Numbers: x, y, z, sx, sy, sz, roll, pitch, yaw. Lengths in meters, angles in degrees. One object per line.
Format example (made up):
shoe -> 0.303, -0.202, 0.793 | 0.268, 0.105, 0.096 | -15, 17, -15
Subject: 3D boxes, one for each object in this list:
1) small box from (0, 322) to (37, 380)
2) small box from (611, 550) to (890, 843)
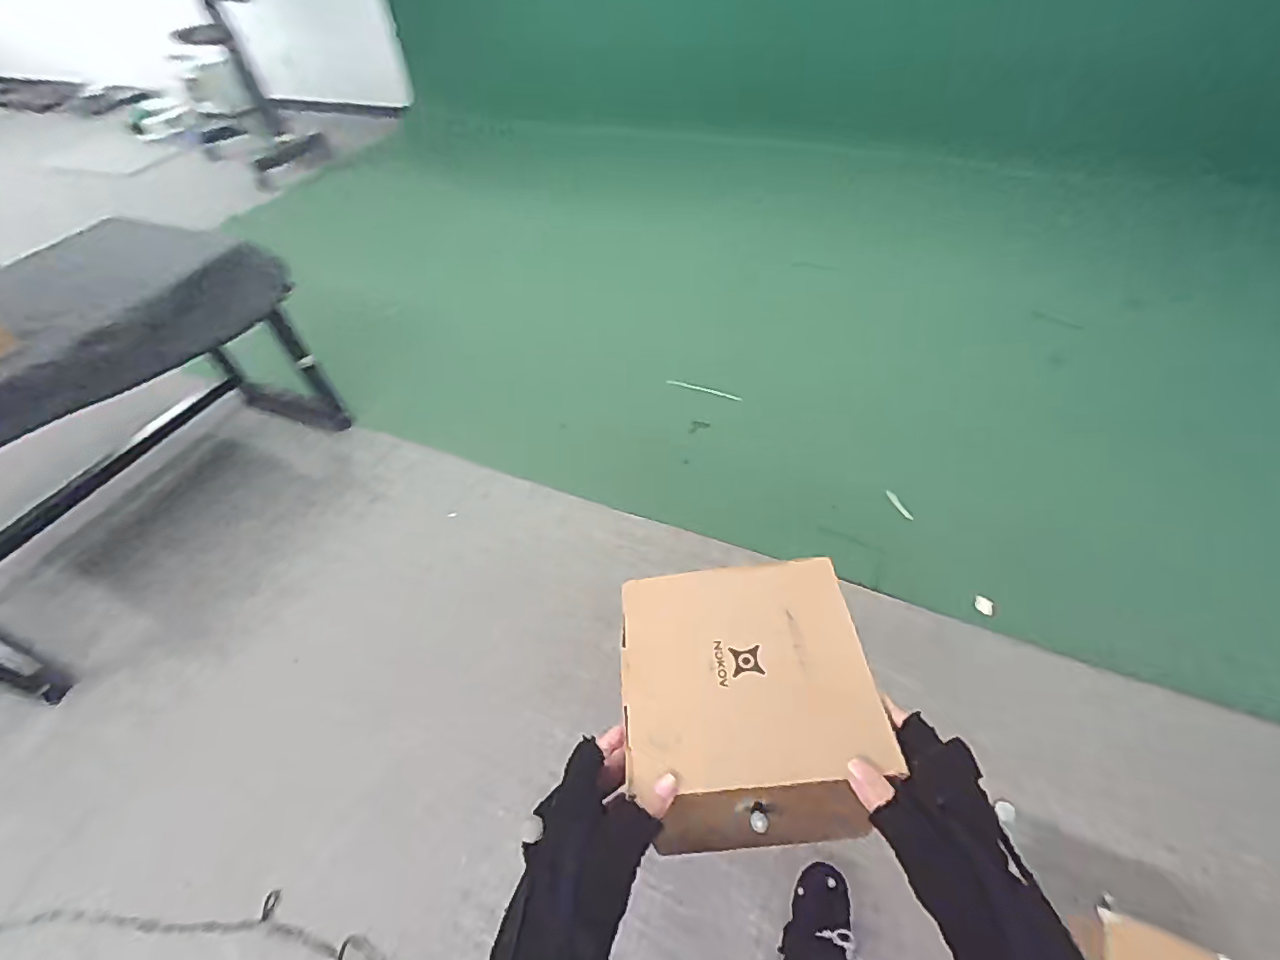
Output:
small box -> -1.555, -0.312, 1.223 | 0.179, 0.176, 0.168 | 17, 54, 19
small box -> 0.079, 0.185, 0.453 | 0.179, 0.176, 0.168 | -10, 46, 3
